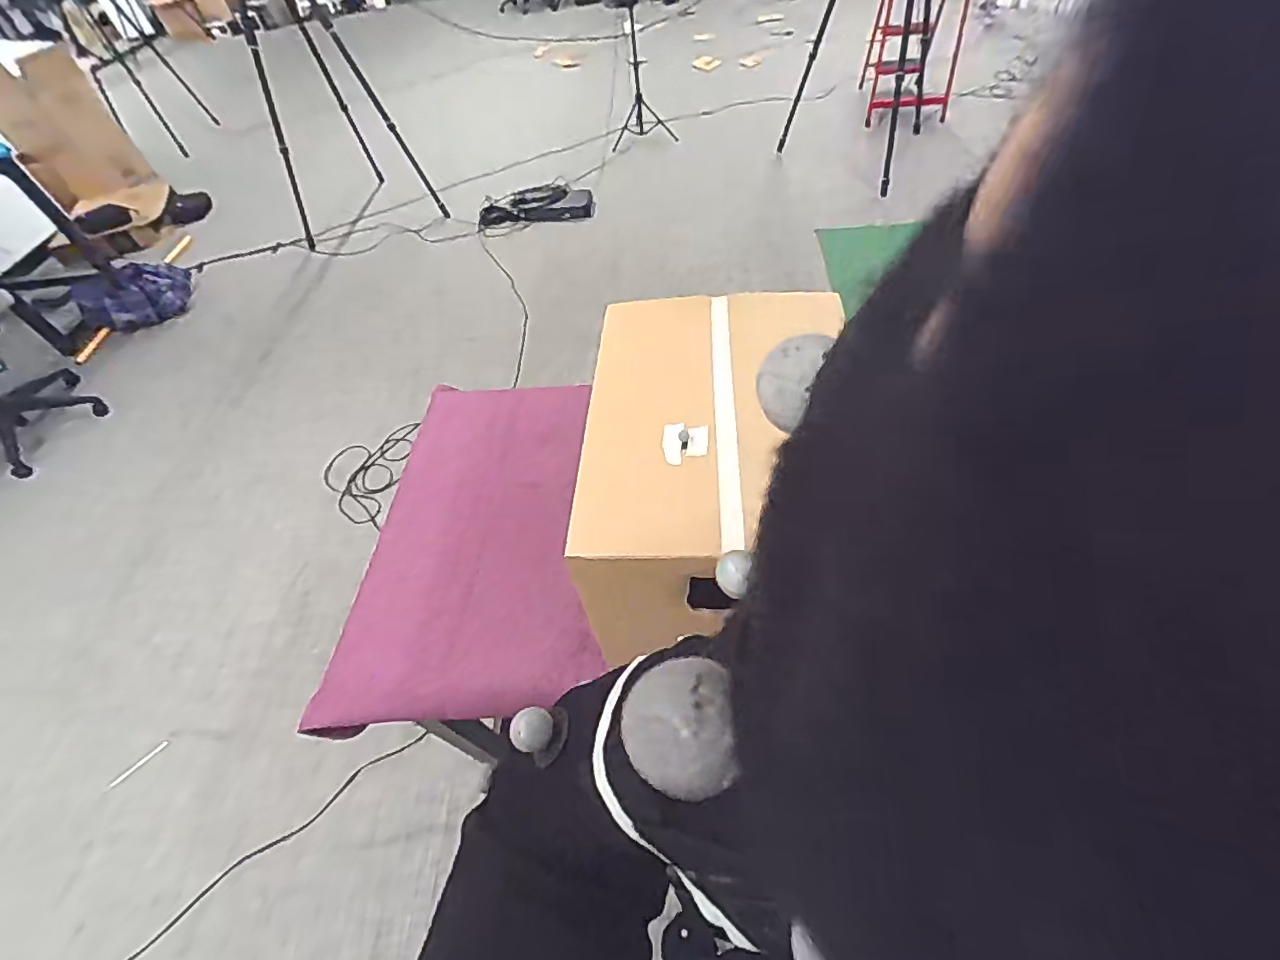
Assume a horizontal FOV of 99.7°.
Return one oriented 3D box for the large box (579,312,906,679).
[{"bbox_3d":[0.113,0.019,0.742,0.320,0.320,0.408,-1,52,7],"label":"large box"}]
